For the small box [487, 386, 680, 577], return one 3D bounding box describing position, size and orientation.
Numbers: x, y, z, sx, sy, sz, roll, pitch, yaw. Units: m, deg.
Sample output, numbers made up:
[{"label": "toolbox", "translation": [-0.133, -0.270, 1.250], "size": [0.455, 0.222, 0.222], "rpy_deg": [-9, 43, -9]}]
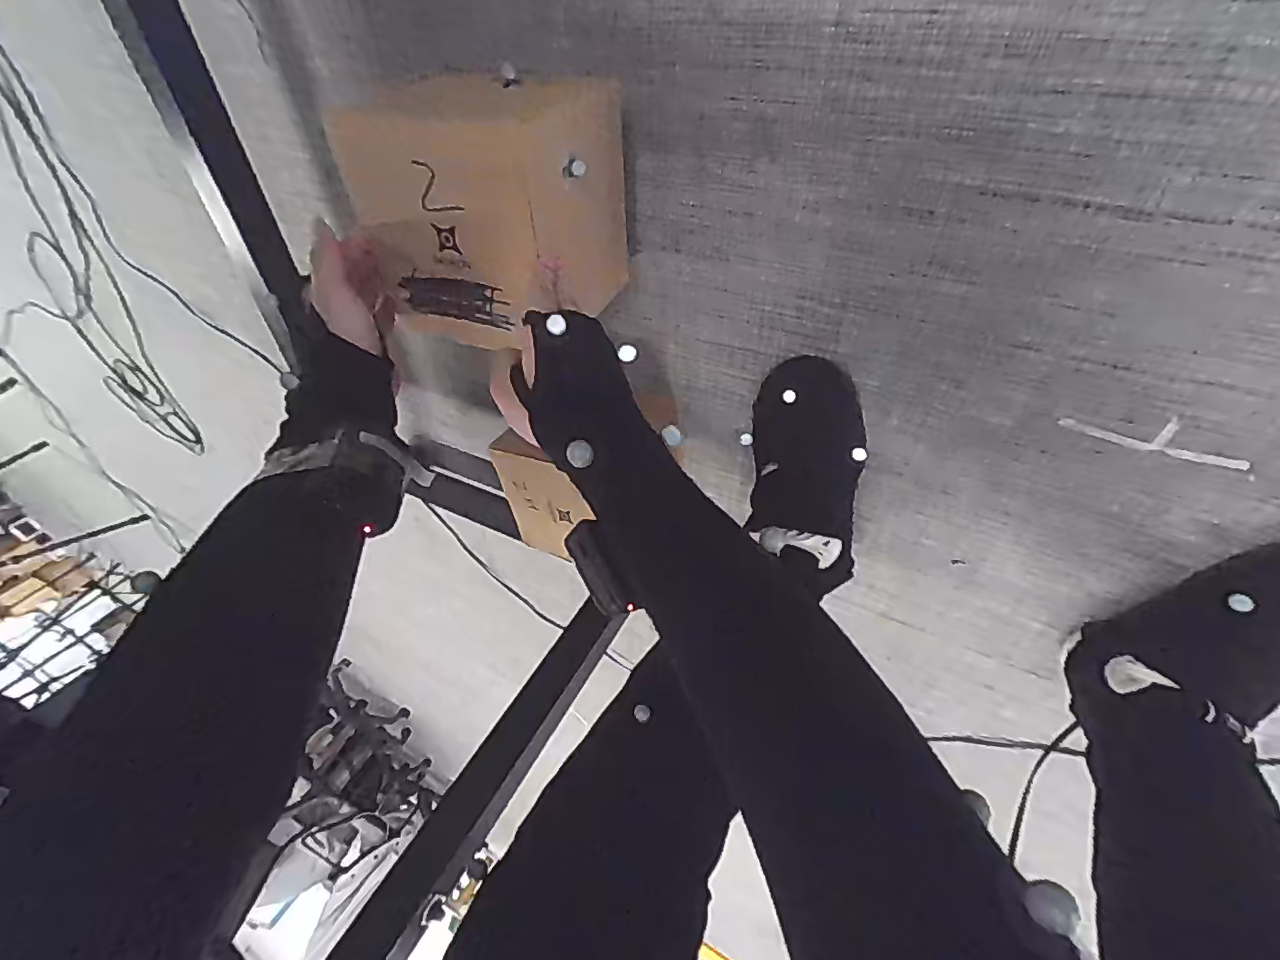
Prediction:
[{"label": "small box", "translation": [-0.058, -0.007, 0.700], "size": [0.179, 0.176, 0.168], "rpy_deg": [13, 132, 27]}]
